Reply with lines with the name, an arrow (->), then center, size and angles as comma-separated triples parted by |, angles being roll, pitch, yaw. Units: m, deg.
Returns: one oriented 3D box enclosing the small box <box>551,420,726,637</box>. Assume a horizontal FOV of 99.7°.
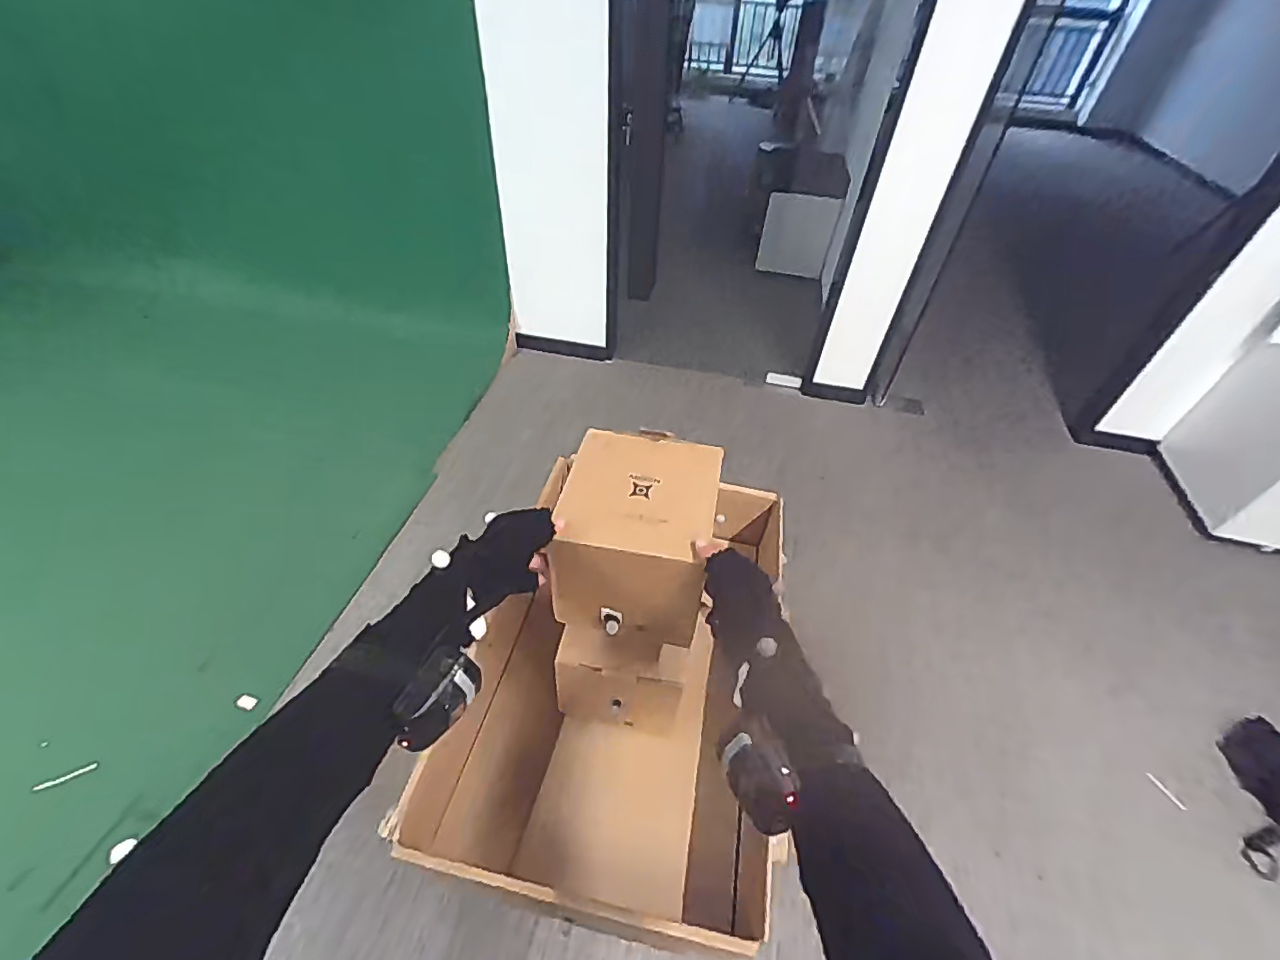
small box -> 0.002, 0.056, 0.640 | 0.168, 0.176, 0.179 | 8, 46, 6
